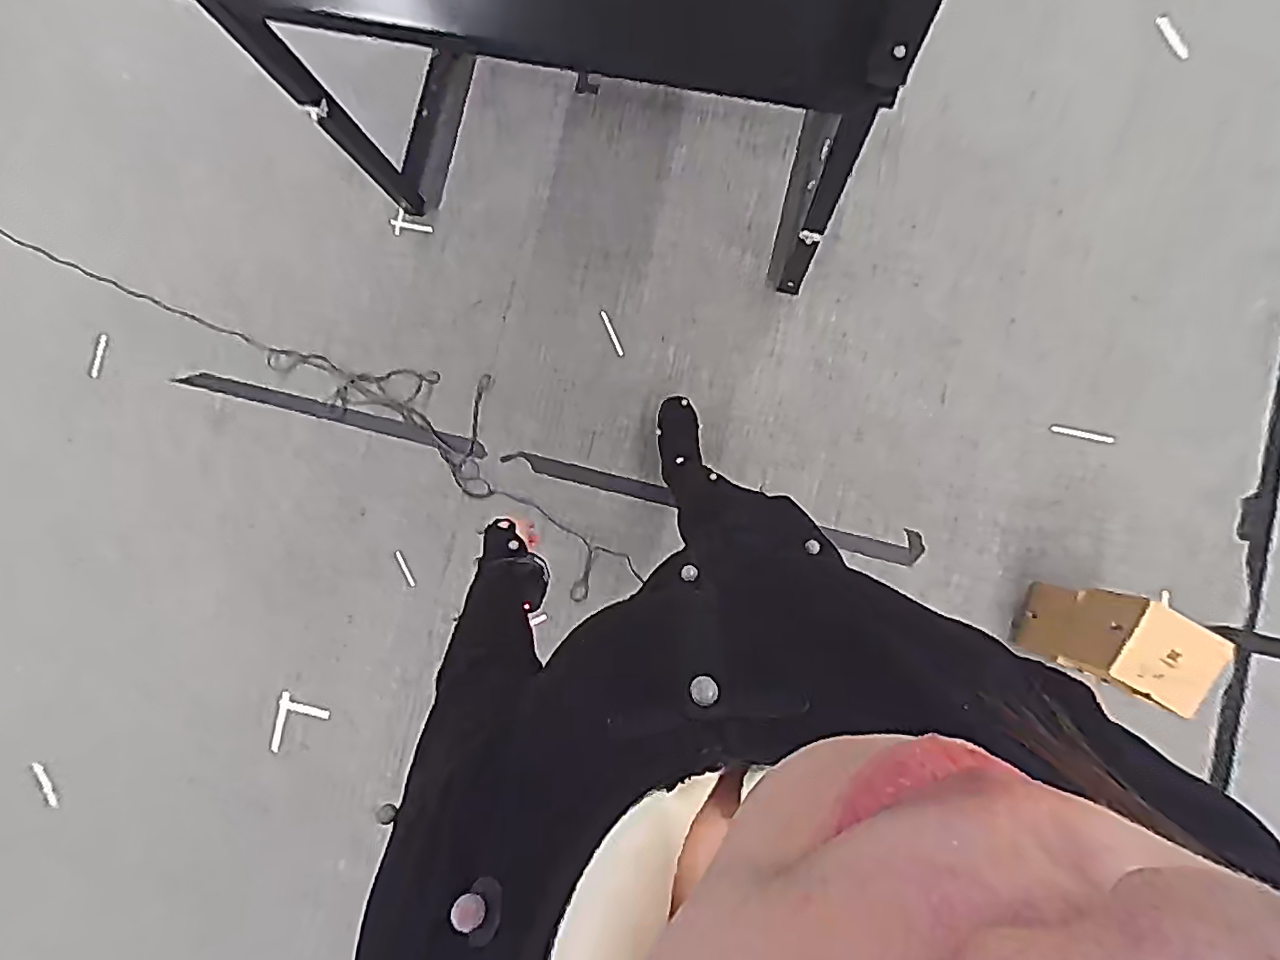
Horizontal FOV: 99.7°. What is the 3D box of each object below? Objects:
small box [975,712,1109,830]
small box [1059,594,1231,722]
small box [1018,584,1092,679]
[{"bbox_3d":[0.948,0.682,1.293,0.179,0.176,0.168,20,90,6],"label":"small box"},{"bbox_3d":[1.040,0.359,1.133,0.168,0.176,0.179,31,90,7],"label":"small box"},{"bbox_3d":[1.053,0.368,1.297,0.168,0.176,0.179,19,90,6],"label":"small box"}]
